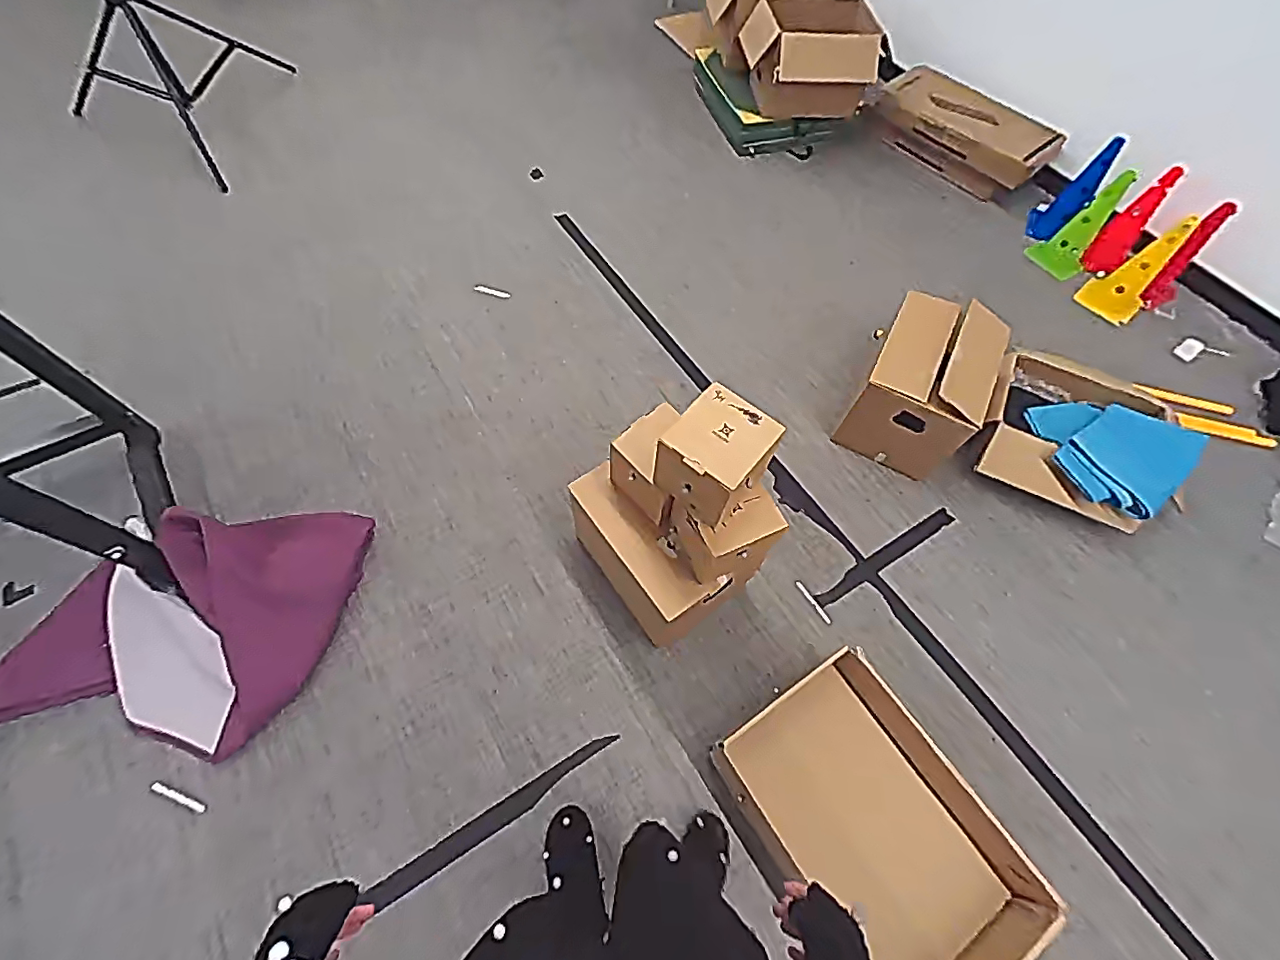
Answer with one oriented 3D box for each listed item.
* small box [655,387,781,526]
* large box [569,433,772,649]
[{"bbox_3d":[0.143,-0.039,1.054,0.168,0.176,0.179,37,67,16],"label":"small box"},{"bbox_3d":[0.058,0.162,1.404,0.320,0.320,0.408,-33,69,-18],"label":"large box"}]
